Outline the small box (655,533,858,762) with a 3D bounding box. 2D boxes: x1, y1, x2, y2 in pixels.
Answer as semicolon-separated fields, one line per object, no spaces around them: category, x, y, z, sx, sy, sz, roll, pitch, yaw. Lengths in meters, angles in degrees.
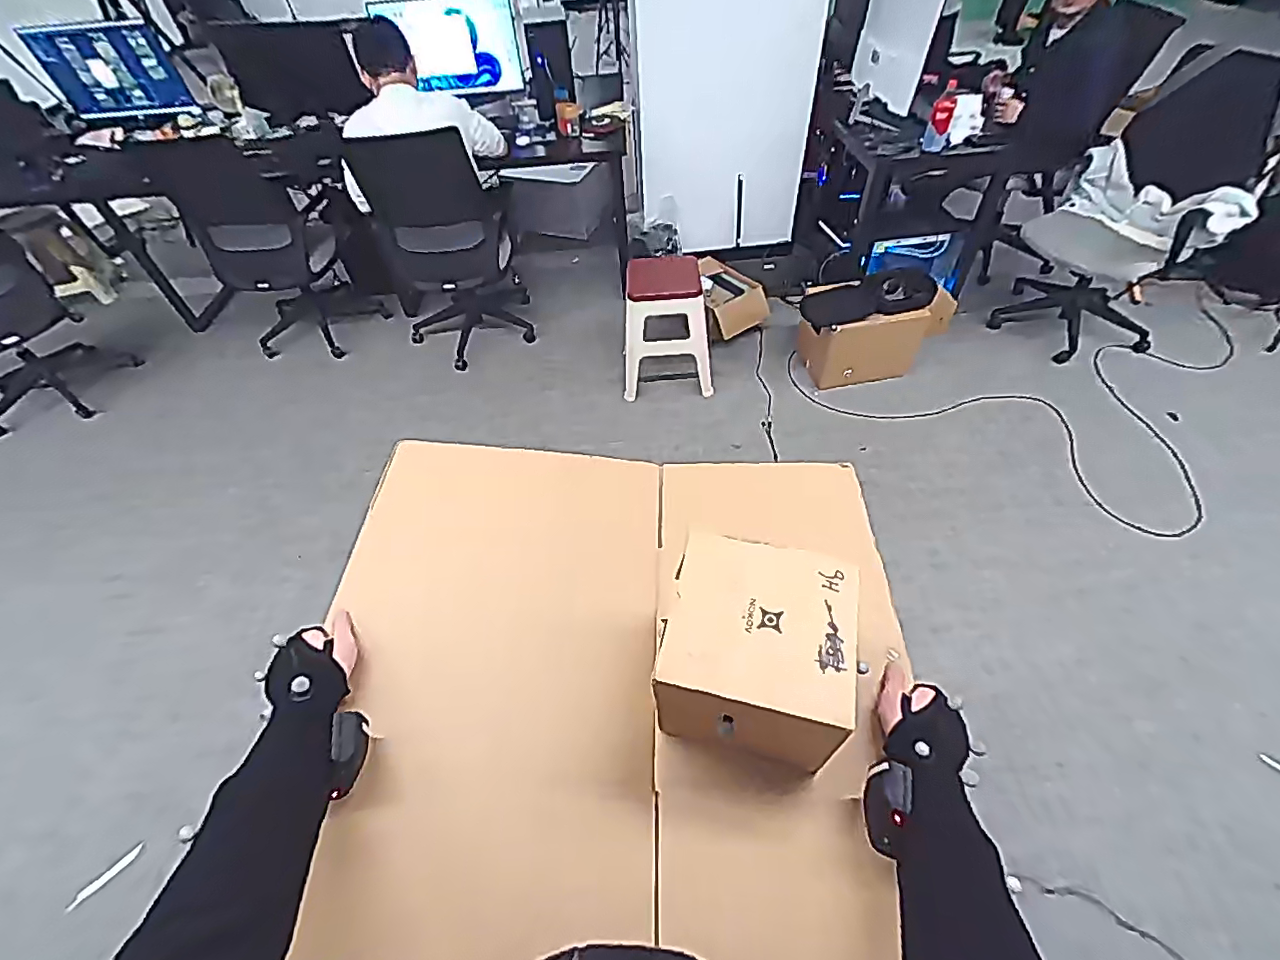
small box;0.124;0.182;0.582;0.179;0.176;0.168;9;52;13
